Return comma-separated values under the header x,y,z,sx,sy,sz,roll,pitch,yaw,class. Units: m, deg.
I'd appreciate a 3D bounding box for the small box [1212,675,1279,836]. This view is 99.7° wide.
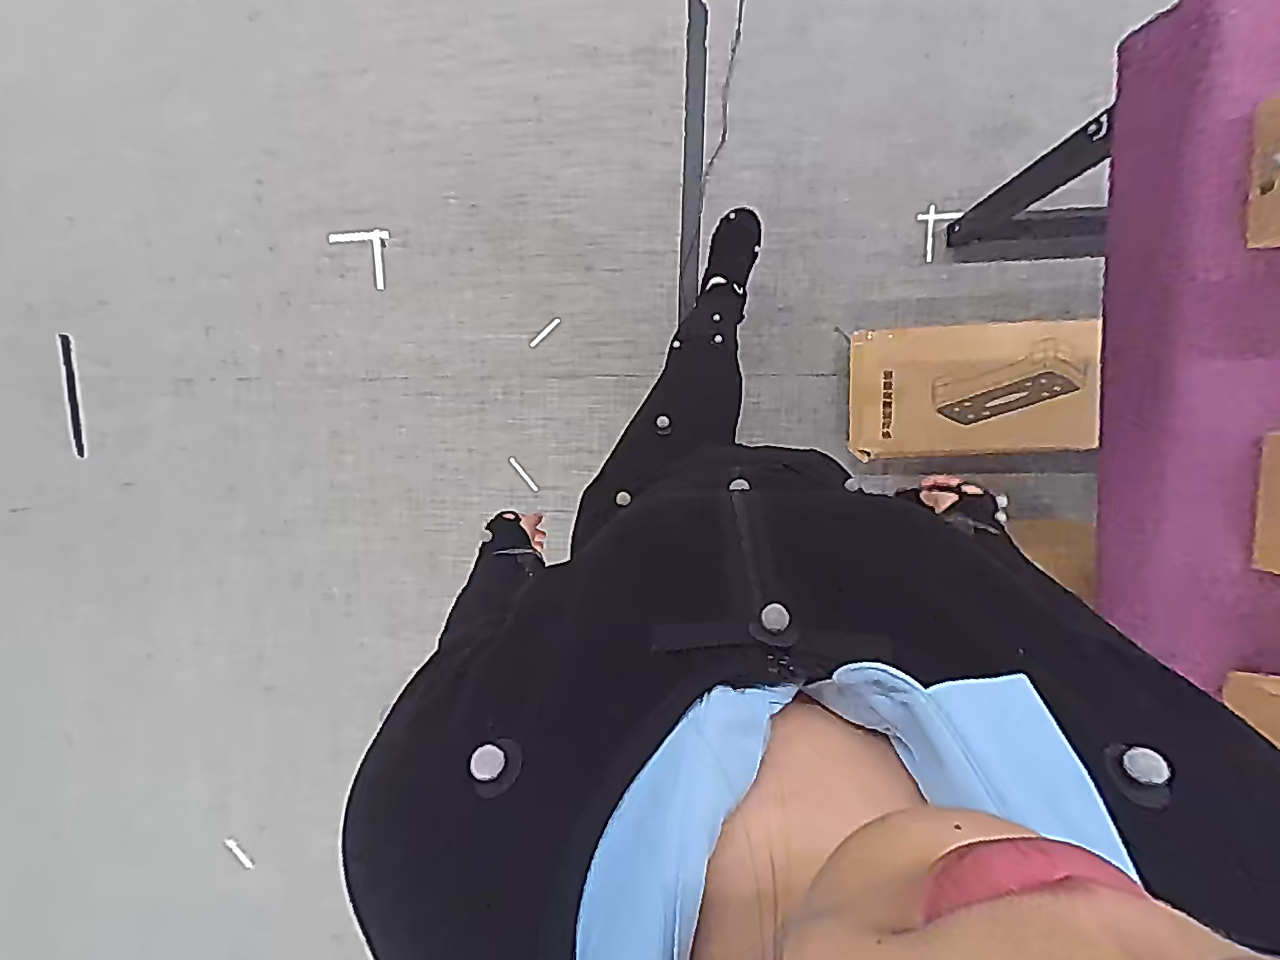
x,y,z,sx,sy,sz,roll,pitch,yaw,class
0.845,0.352,0.634,0.168,0.176,0.179,6,97,5,small box

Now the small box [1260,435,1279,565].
x,y,z,sx,sy,sz,roll,pitch,yaw,class
0.860,0.036,0.595,0.168,0.176,0.179,-1,96,3,small box
